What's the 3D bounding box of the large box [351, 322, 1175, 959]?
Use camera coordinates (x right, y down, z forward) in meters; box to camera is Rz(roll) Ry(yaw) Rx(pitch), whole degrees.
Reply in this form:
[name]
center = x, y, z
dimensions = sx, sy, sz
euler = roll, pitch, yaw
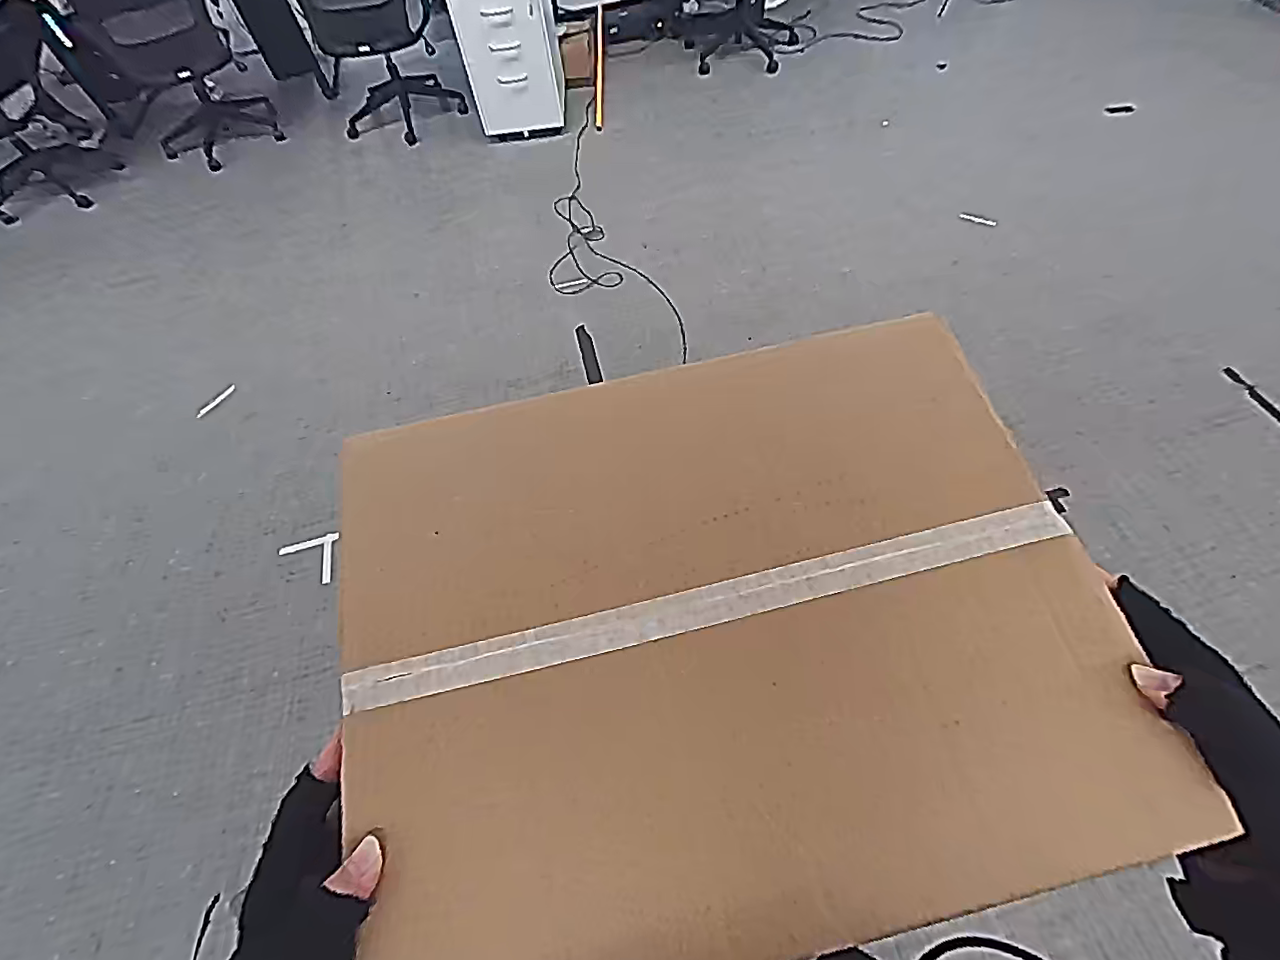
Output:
[large box]
center = 0.045, 0.128, 0.446
dimensions = 0.408, 0.320, 0.320
euler = -13, 66, -3
